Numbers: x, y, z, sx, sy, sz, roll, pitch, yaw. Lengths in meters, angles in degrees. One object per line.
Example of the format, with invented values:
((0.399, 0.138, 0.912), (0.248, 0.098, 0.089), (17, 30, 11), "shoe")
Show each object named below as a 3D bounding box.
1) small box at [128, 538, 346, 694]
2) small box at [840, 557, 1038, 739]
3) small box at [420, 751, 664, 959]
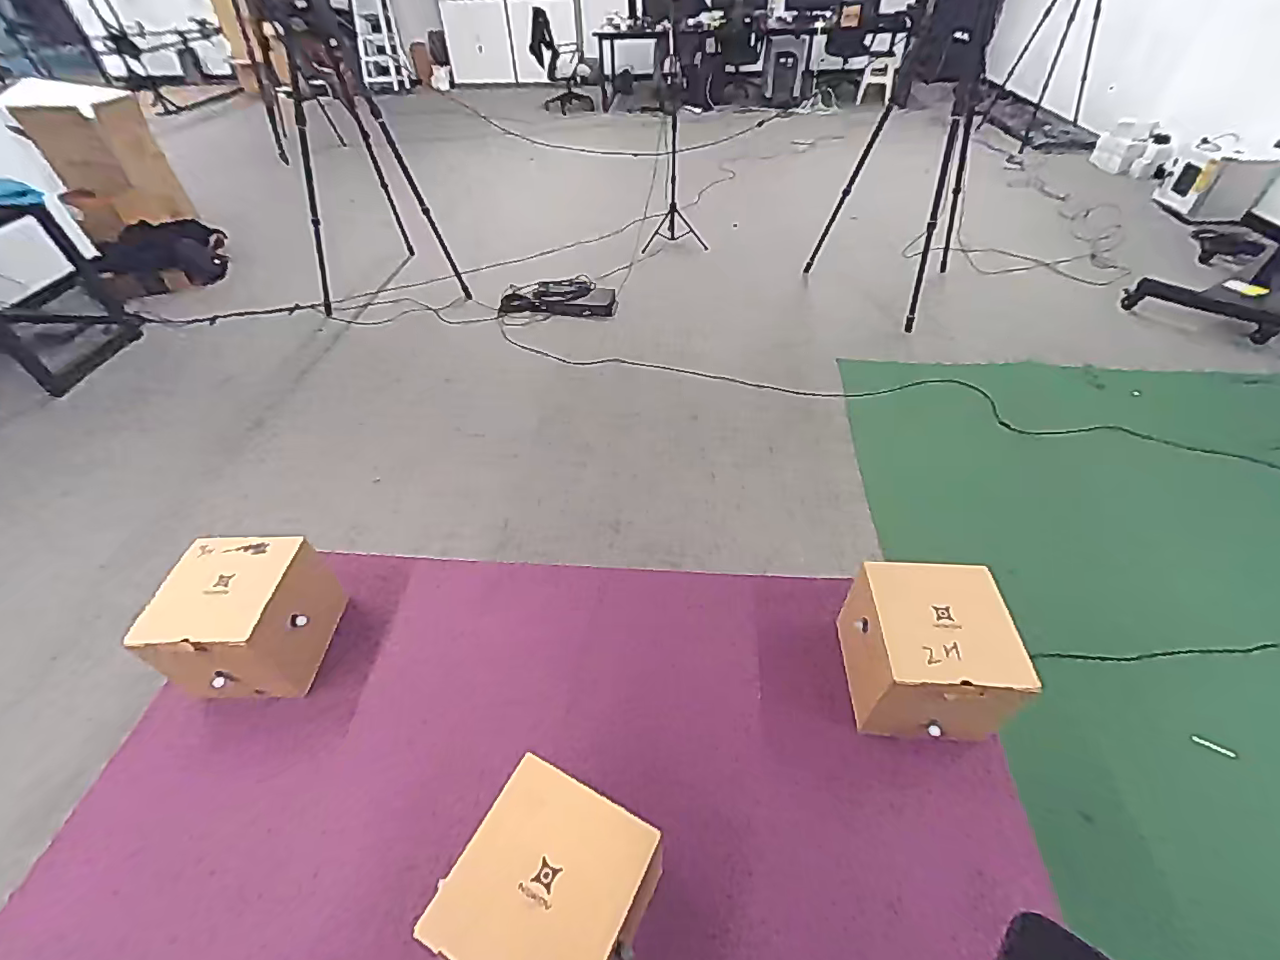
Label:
((-0.574, 0.206, 0.806), (0.168, 0.176, 0.179), (-1, 46, 1), "small box")
((0.384, 0.227, 0.736), (0.168, 0.176, 0.179), (1, 46, 6), "small box")
((-0.087, 0.429, 0.564), (0.168, 0.176, 0.179), (19, 50, 21), "small box")
